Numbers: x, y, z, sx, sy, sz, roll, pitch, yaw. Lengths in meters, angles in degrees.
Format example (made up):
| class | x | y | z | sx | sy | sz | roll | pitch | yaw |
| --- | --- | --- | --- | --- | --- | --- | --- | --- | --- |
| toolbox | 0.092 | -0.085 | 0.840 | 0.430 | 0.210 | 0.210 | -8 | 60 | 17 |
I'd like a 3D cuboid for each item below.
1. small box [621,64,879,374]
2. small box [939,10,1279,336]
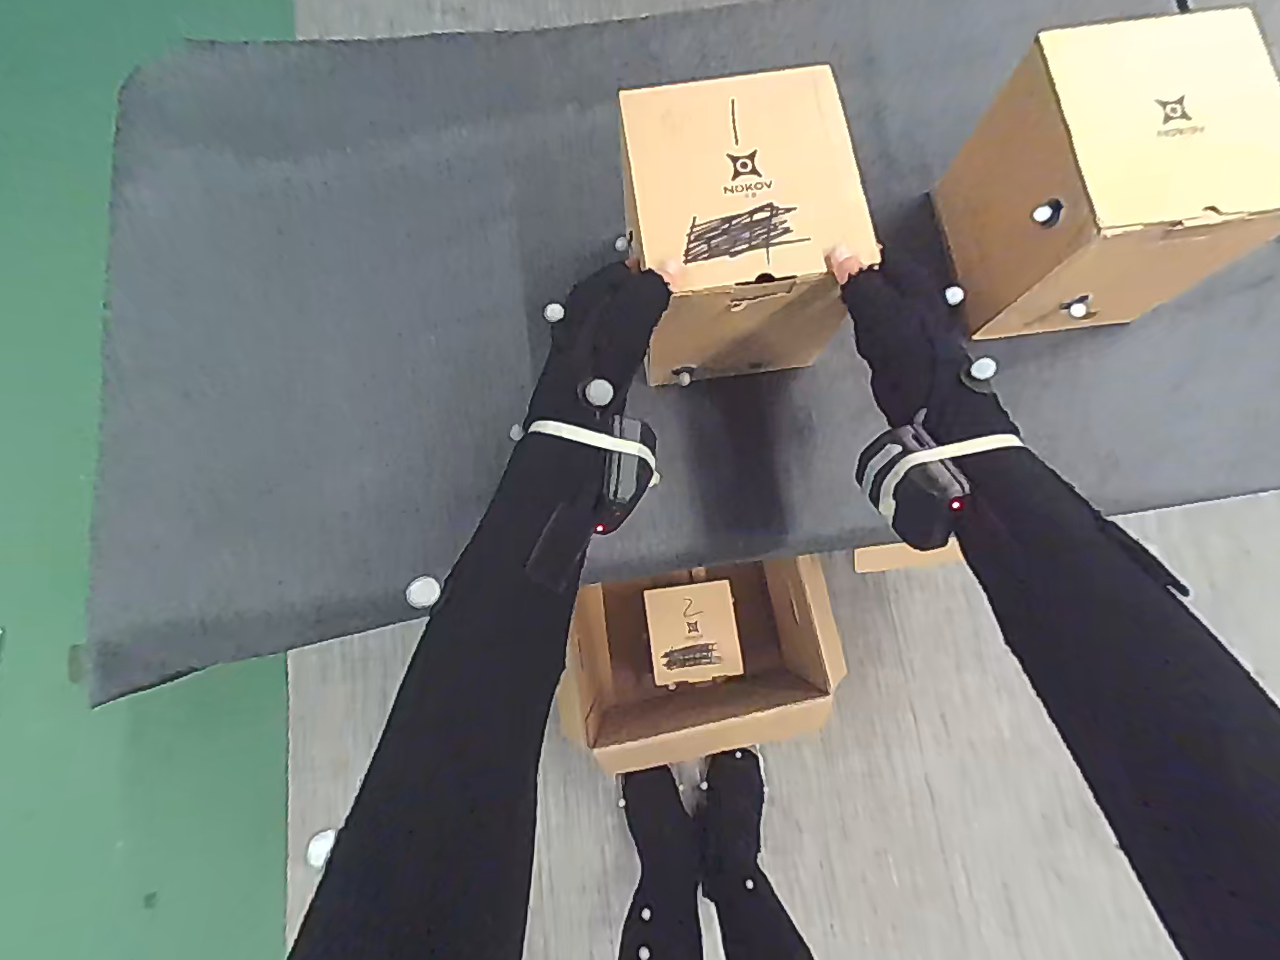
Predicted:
| class | x | y | z | sx | sy | sz | roll | pitch | yaw |
| --- | --- | --- | --- | --- | --- | --- | --- | --- | --- |
| small box | 0.078 | -0.203 | 0.468 | 0.168 | 0.176 | 0.179 | -7 | 78 | -1 |
| small box | 0.395 | -0.250 | 0.473 | 0.168 | 0.176 | 0.179 | -7 | 79 | 0 |
